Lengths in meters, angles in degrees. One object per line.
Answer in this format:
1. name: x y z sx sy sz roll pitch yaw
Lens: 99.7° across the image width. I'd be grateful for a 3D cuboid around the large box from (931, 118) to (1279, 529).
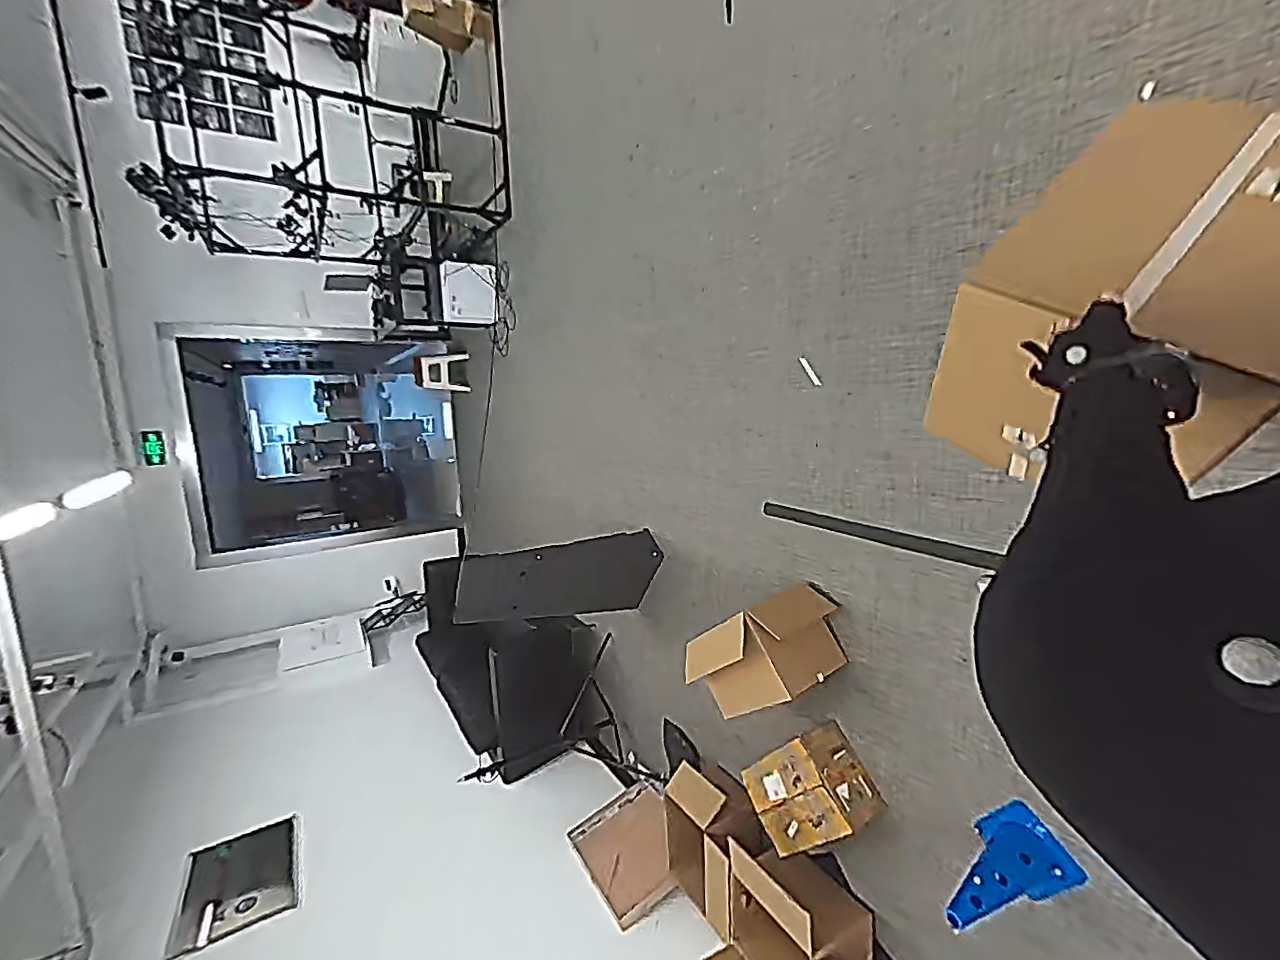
1. large box: 0.675 -0.213 0.746 0.320 0.408 0.320 38 166 33
